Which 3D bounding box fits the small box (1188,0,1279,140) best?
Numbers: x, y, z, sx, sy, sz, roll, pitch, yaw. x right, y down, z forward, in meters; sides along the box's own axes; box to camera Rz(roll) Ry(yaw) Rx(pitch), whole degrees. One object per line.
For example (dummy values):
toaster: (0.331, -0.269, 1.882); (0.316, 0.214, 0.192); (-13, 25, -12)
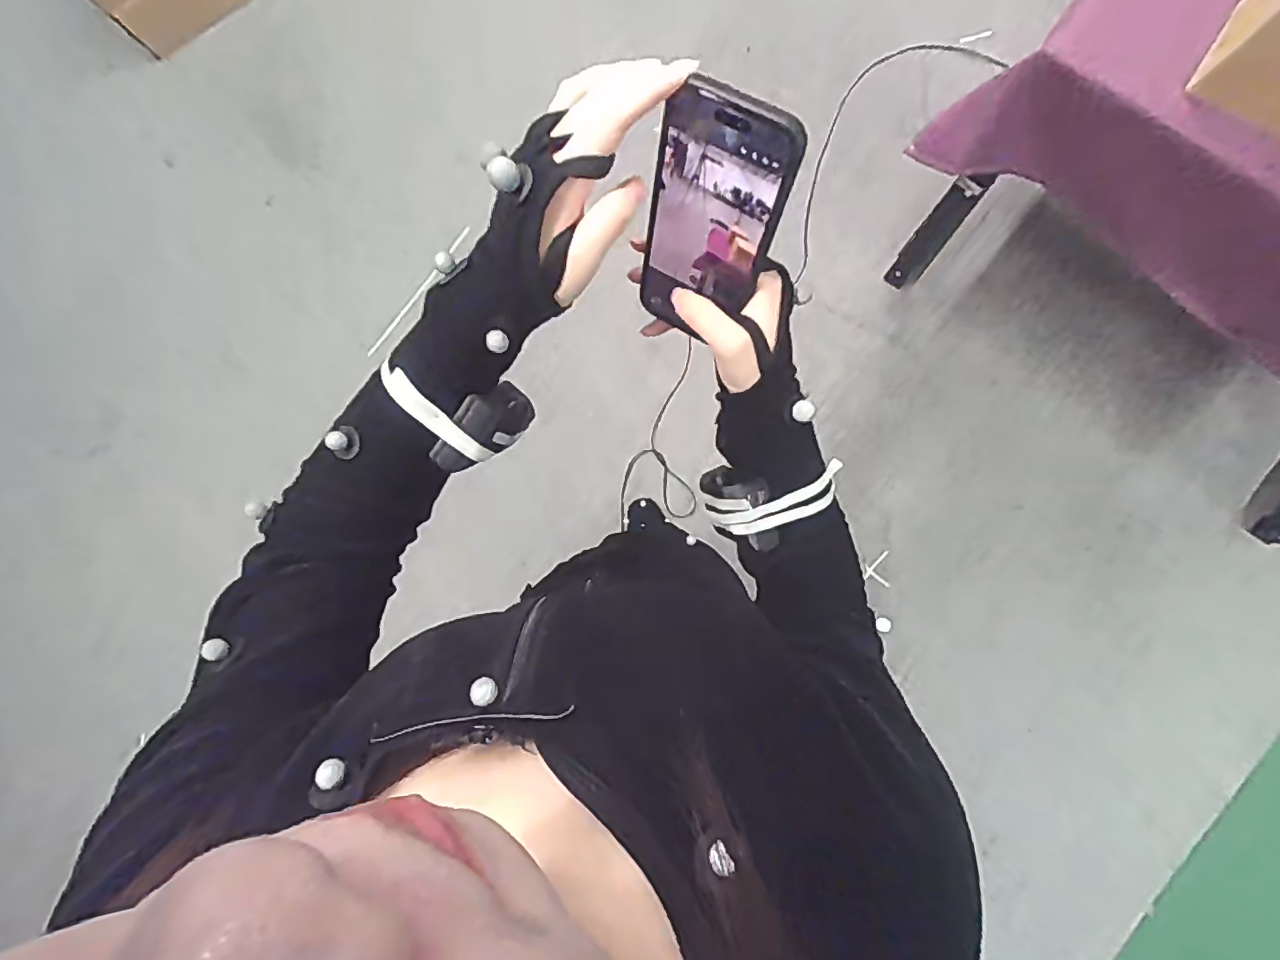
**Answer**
small box: (0.885, -0.584, 0.691); (0.179, 0.176, 0.168); (33, 88, 5)
